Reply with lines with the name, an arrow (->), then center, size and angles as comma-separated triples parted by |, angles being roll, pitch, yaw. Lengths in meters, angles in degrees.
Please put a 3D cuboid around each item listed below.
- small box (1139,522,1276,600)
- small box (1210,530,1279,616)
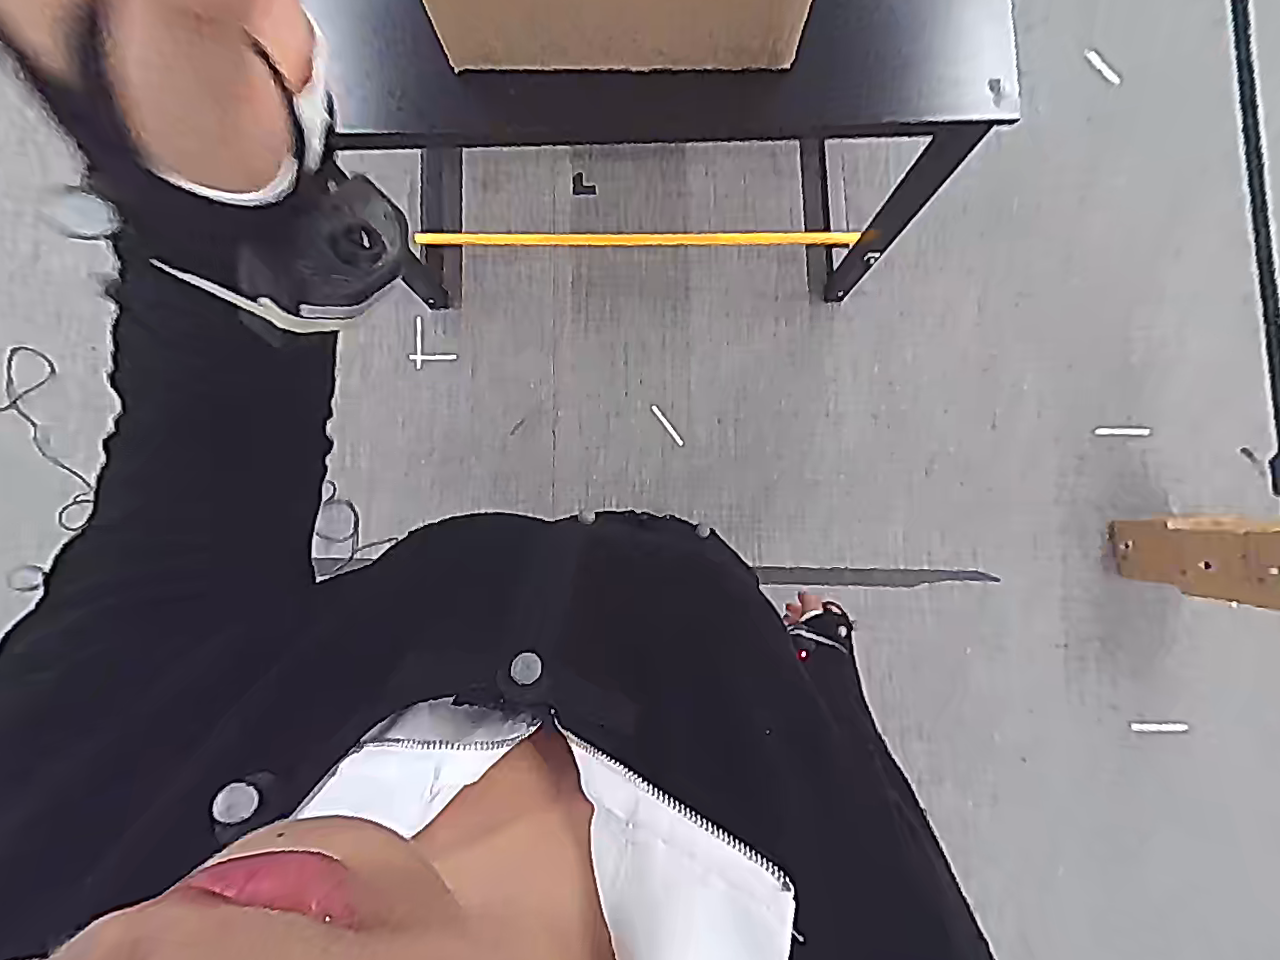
small box -> 1.404, 0.194, 1.335 | 0.179, 0.176, 0.168 | -7, 85, 1
small box -> 1.402, 0.200, 1.171 | 0.179, 0.176, 0.168 | -8, 86, 0
